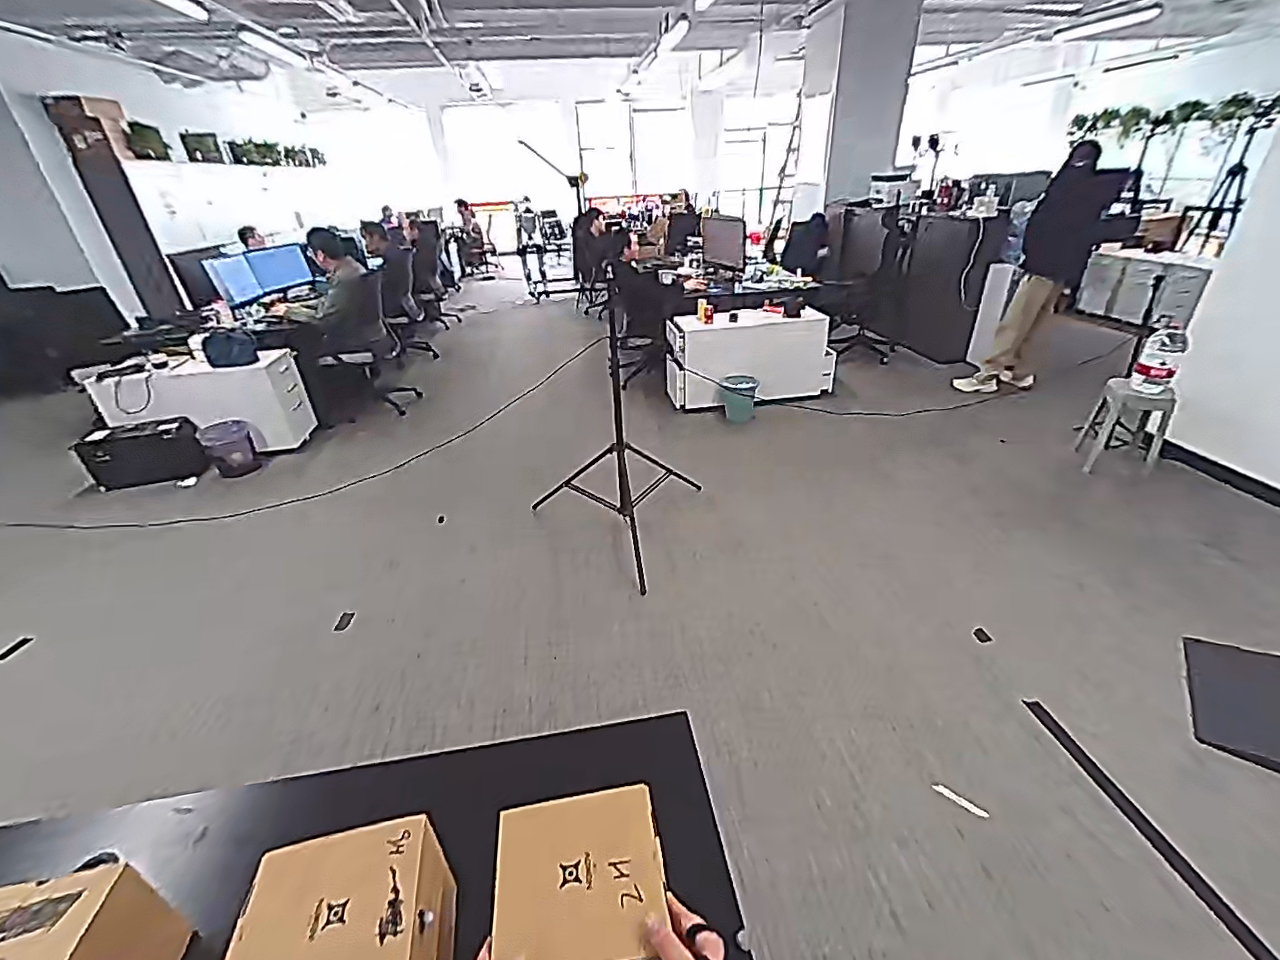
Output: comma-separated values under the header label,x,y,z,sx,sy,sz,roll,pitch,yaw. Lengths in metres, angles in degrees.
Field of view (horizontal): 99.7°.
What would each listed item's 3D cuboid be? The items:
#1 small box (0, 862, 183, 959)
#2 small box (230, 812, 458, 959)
label,x,y,z,sx,sy,sz,roll,pitch,yaw
small box,-0.626,0.545,0.557,0.168,0.176,0.179,-7,30,-7
small box,-0.311,0.510,0.589,0.179,0.176,0.168,-10,30,-10
